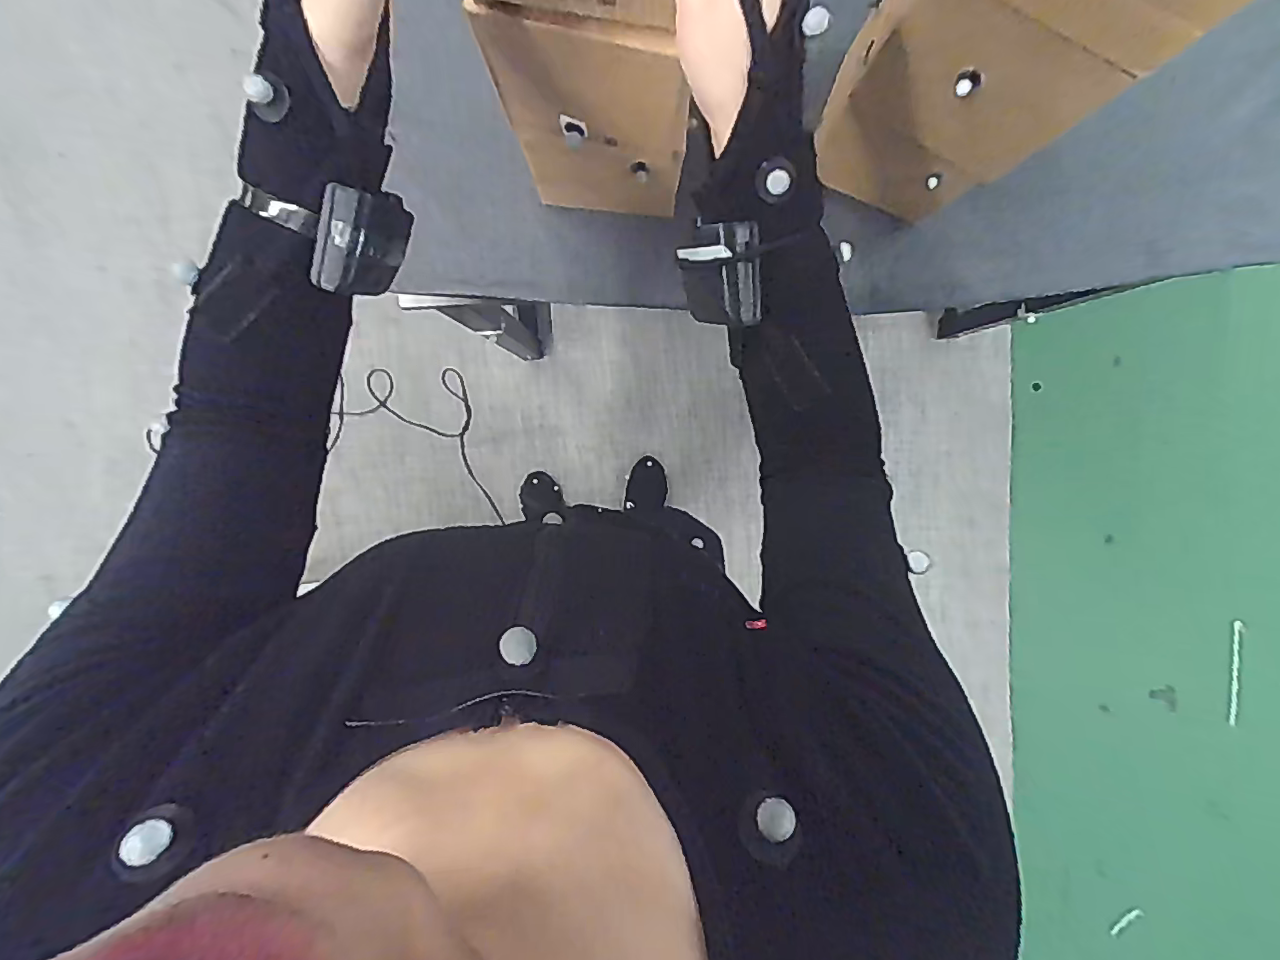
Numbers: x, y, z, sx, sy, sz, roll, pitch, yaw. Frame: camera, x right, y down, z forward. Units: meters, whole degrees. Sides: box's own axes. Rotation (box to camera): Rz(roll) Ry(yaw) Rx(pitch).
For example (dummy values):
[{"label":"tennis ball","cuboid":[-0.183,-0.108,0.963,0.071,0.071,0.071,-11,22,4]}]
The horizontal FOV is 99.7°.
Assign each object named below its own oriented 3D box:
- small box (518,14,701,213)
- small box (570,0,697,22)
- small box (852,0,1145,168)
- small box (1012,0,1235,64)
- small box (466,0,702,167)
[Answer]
[{"label":"small box","cuboid":[-0.033,-0.430,0.627,0.179,0.176,0.168,5,95,-1]},{"label":"small box","cuboid":[-0.032,-0.404,0.294,0.168,0.176,0.179,9,96,1]},{"label":"small box","cuboid":[0.324,-0.410,0.467,0.179,0.176,0.168,28,94,-3]},{"label":"small box","cuboid":[0.324,-0.395,0.306,0.179,0.176,0.168,26,94,-4]},{"label":"small box","cuboid":[-0.032,-0.411,0.465,0.168,0.176,0.179,10,96,-1]}]
